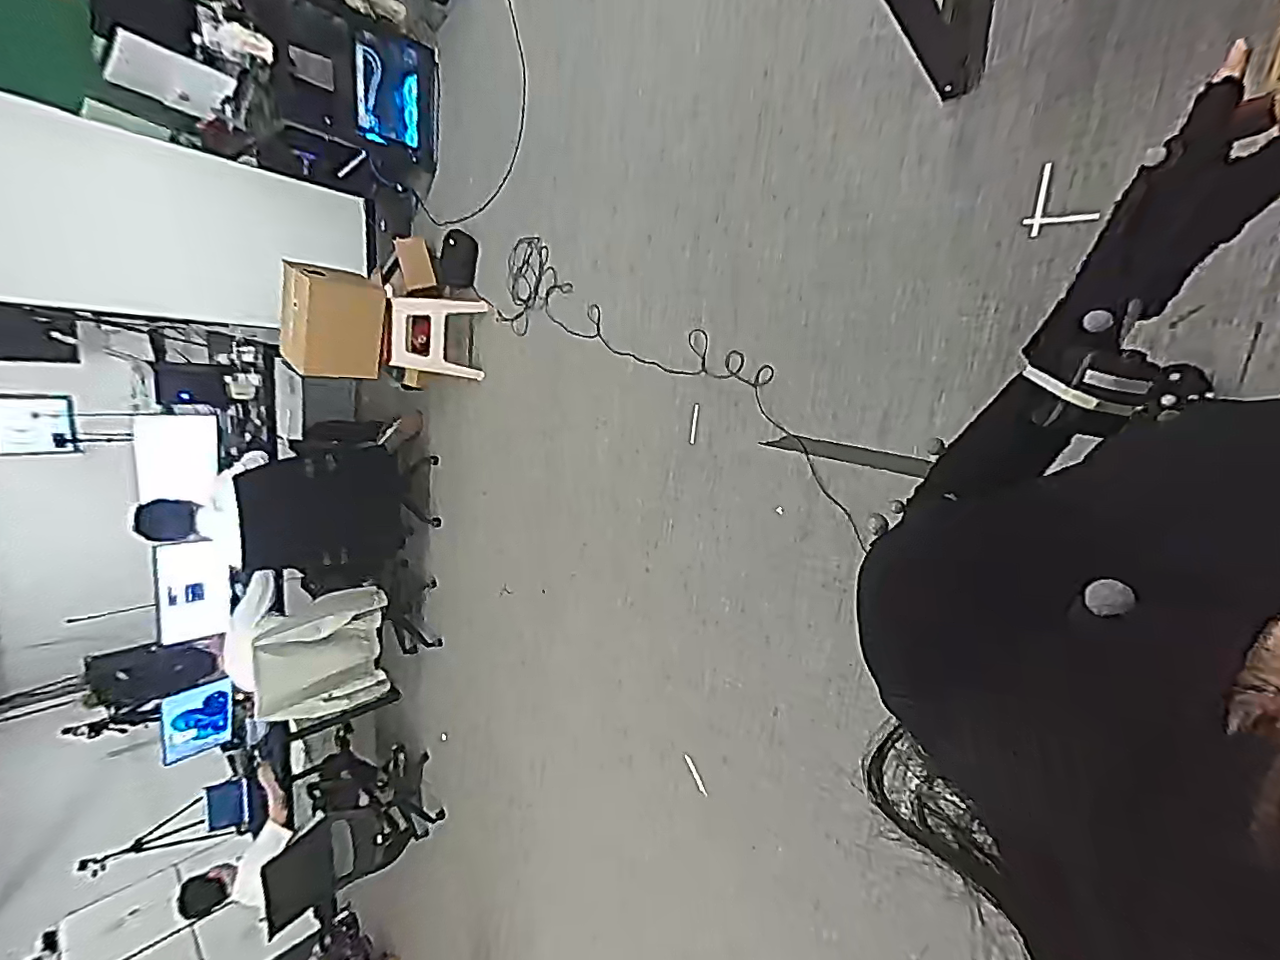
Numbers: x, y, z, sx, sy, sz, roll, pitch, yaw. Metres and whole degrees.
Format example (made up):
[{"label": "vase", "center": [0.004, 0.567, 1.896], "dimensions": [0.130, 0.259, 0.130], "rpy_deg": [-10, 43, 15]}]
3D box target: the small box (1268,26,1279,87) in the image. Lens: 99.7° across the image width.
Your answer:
[{"label": "small box", "center": [0.507, -0.277, 0.303], "dimensions": [0.179, 0.176, 0.168], "rpy_deg": [9, 79, 55]}]
